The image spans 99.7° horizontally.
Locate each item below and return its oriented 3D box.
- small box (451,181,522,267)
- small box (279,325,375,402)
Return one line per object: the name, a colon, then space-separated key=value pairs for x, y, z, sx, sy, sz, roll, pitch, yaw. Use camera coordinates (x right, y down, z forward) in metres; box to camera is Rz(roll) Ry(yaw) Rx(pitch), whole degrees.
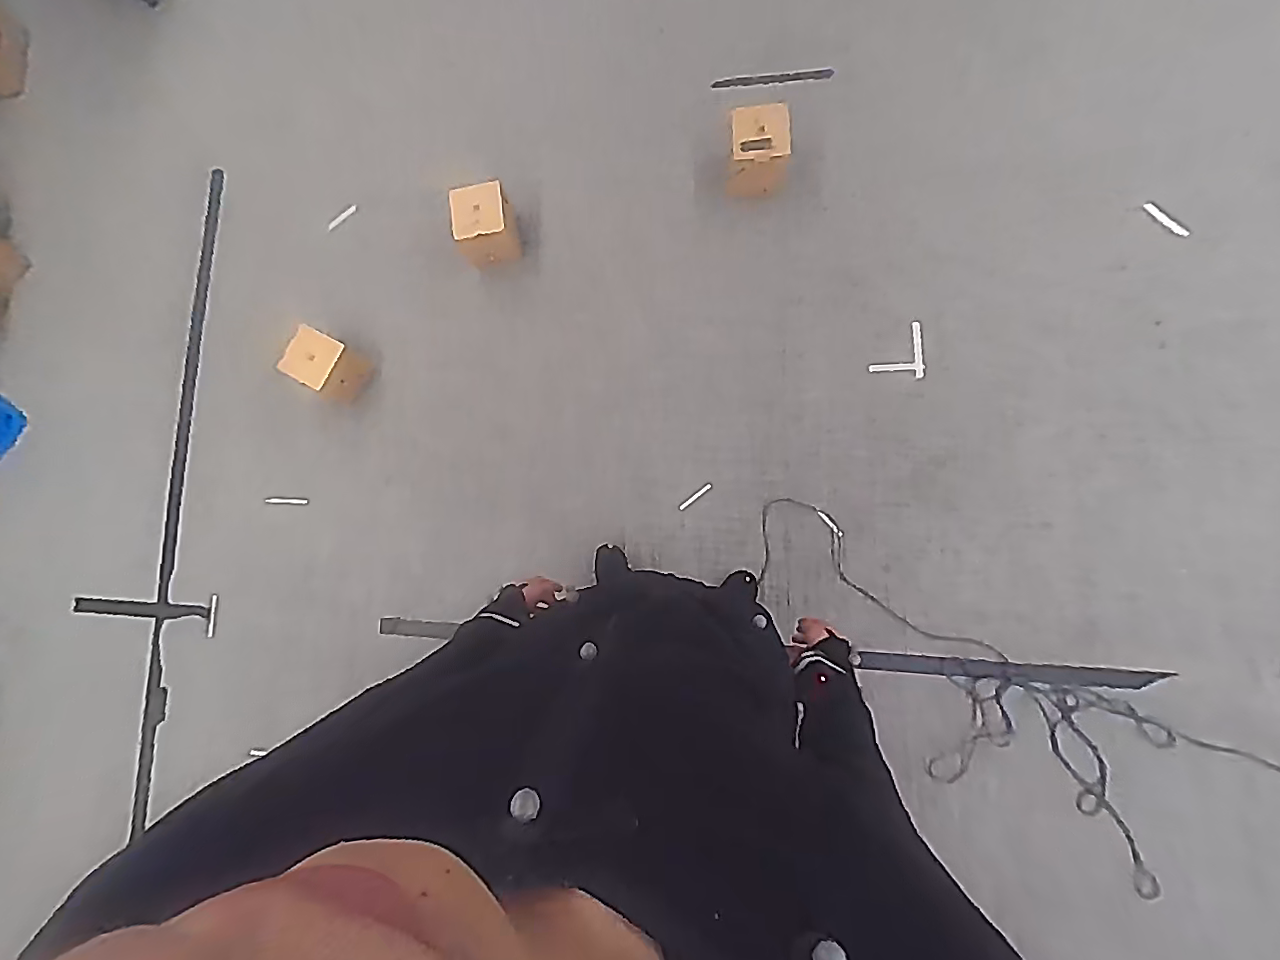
small box: x=-0.492 y=-0.822 z=1.748 sx=0.168 sy=0.176 sz=0.179 roll=-9 pitch=83 yaw=5
small box: x=-1.005 y=-0.368 z=1.755 sx=0.179 sy=0.176 sz=0.168 roll=27 pitch=87 yaw=10
